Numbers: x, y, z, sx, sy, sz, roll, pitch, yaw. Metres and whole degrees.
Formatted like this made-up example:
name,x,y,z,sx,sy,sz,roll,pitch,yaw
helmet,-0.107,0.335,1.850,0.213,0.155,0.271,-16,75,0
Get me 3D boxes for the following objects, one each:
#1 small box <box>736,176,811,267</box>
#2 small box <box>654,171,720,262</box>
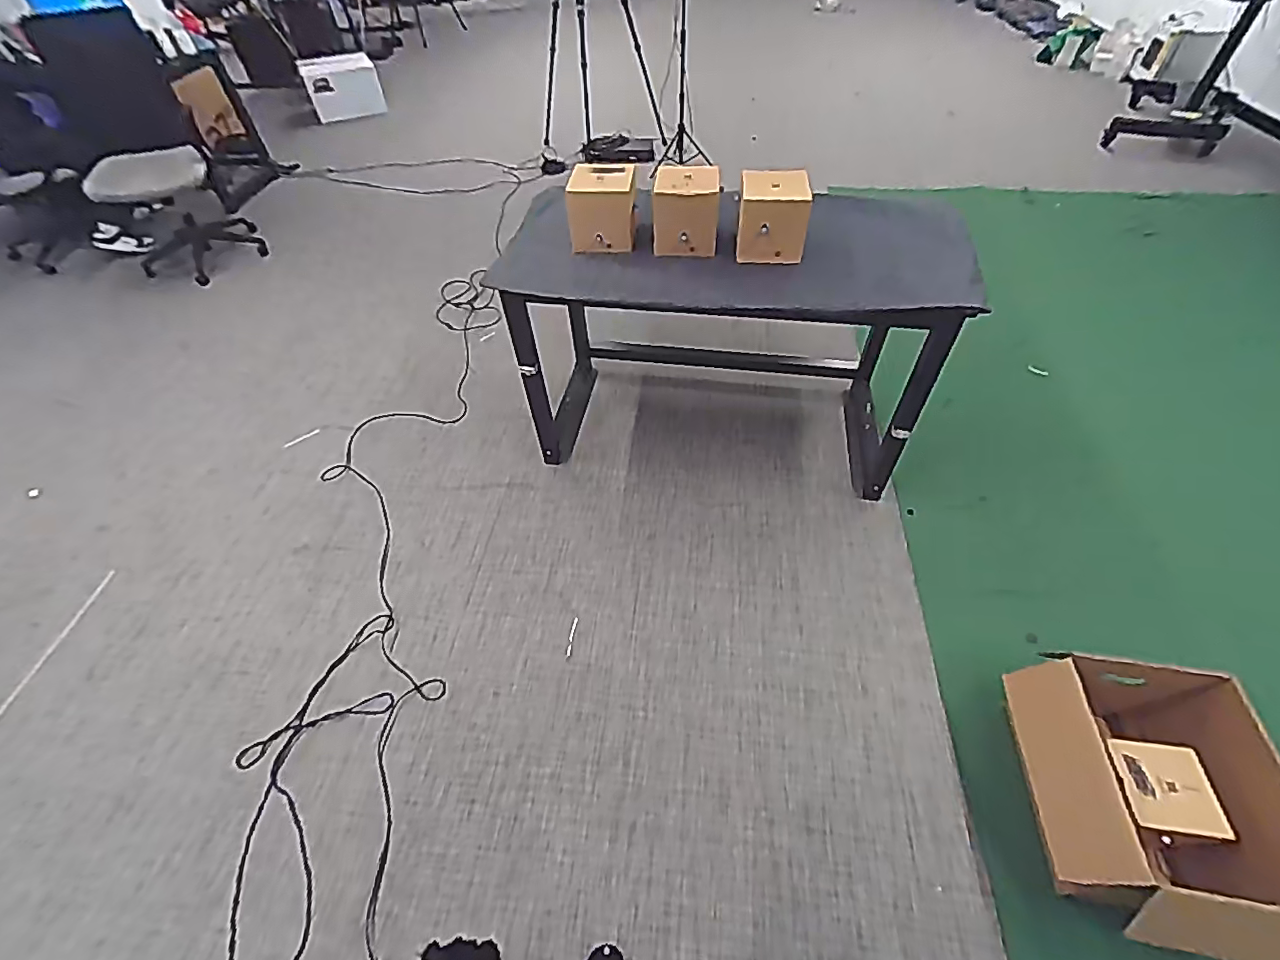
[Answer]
name,x,y,z,sx,sy,sz,roll,pitch,yaw
small box,0.344,-0.674,1.416,0.168,0.176,0.179,3,49,6
small box,0.126,-0.710,1.455,0.168,0.176,0.179,3,50,5
